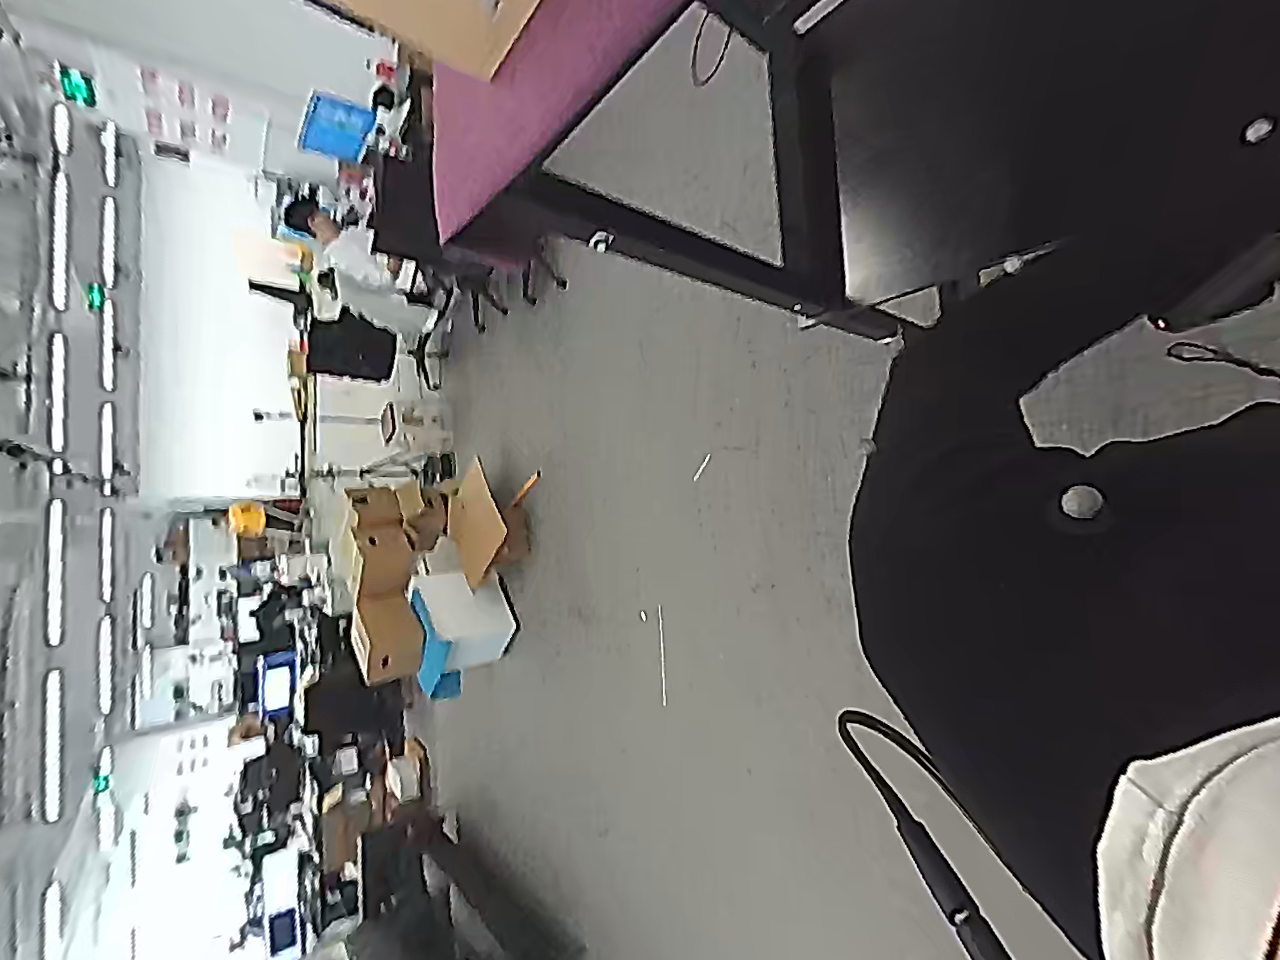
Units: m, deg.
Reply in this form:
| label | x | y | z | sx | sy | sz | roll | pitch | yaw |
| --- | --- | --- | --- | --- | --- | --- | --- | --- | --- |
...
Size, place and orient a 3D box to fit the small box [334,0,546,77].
| label | x | y | z | sx | sy | sz | roll | pitch | yaw |
| --- | --- | --- | --- | --- | --- | --- | --- | --- | --- |
| small box | -0.156 | -0.484 | 0.428 | 0.179 | 0.176 | 0.168 | -11 | 80 | 49 |
